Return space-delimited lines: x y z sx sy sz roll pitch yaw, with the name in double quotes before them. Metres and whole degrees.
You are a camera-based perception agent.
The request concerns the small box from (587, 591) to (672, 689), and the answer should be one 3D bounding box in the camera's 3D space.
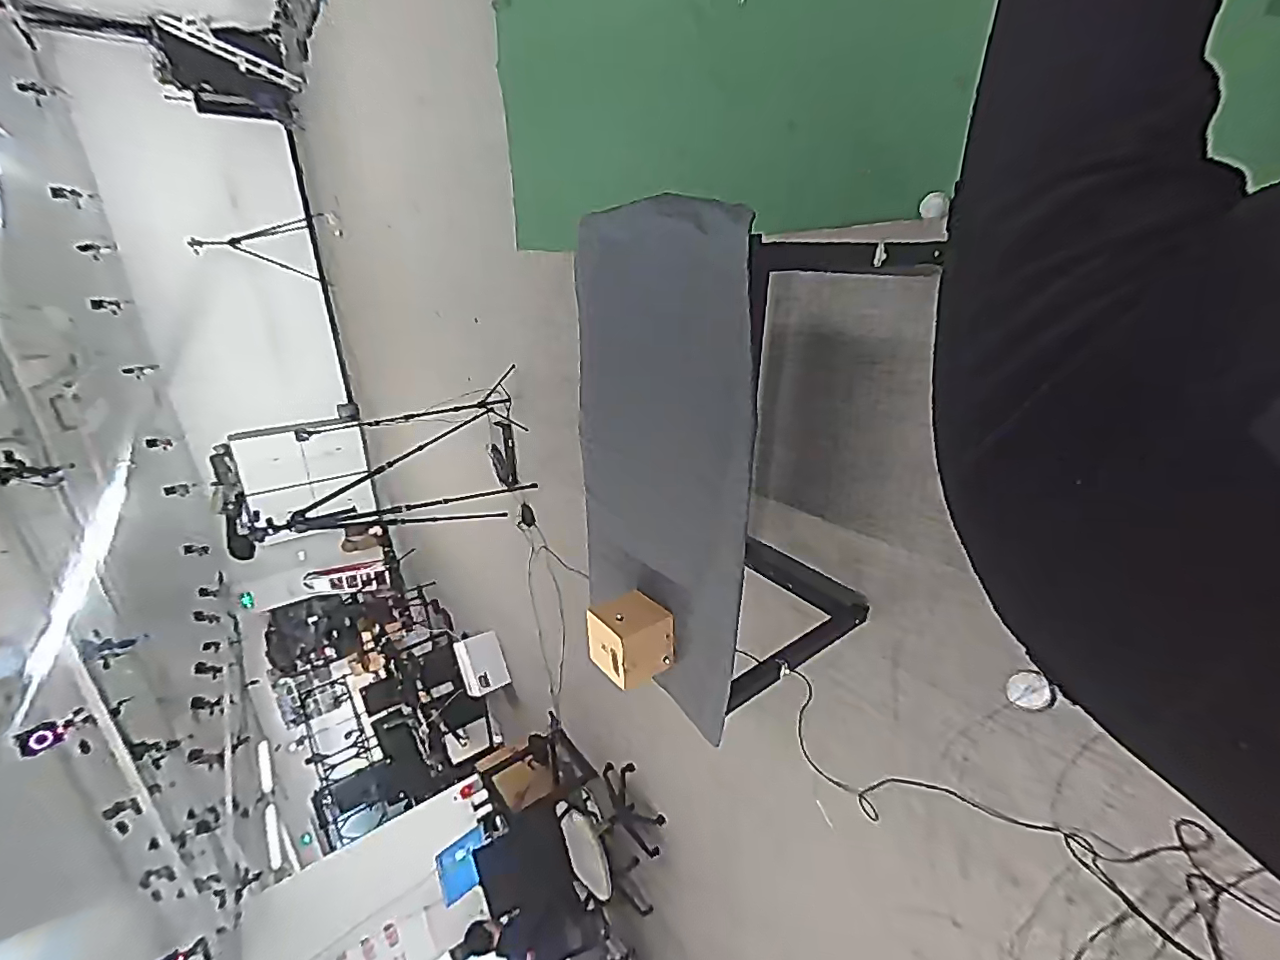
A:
"small box" -0.023 0.428 1.479 0.179 0.176 0.168 23 122 51
